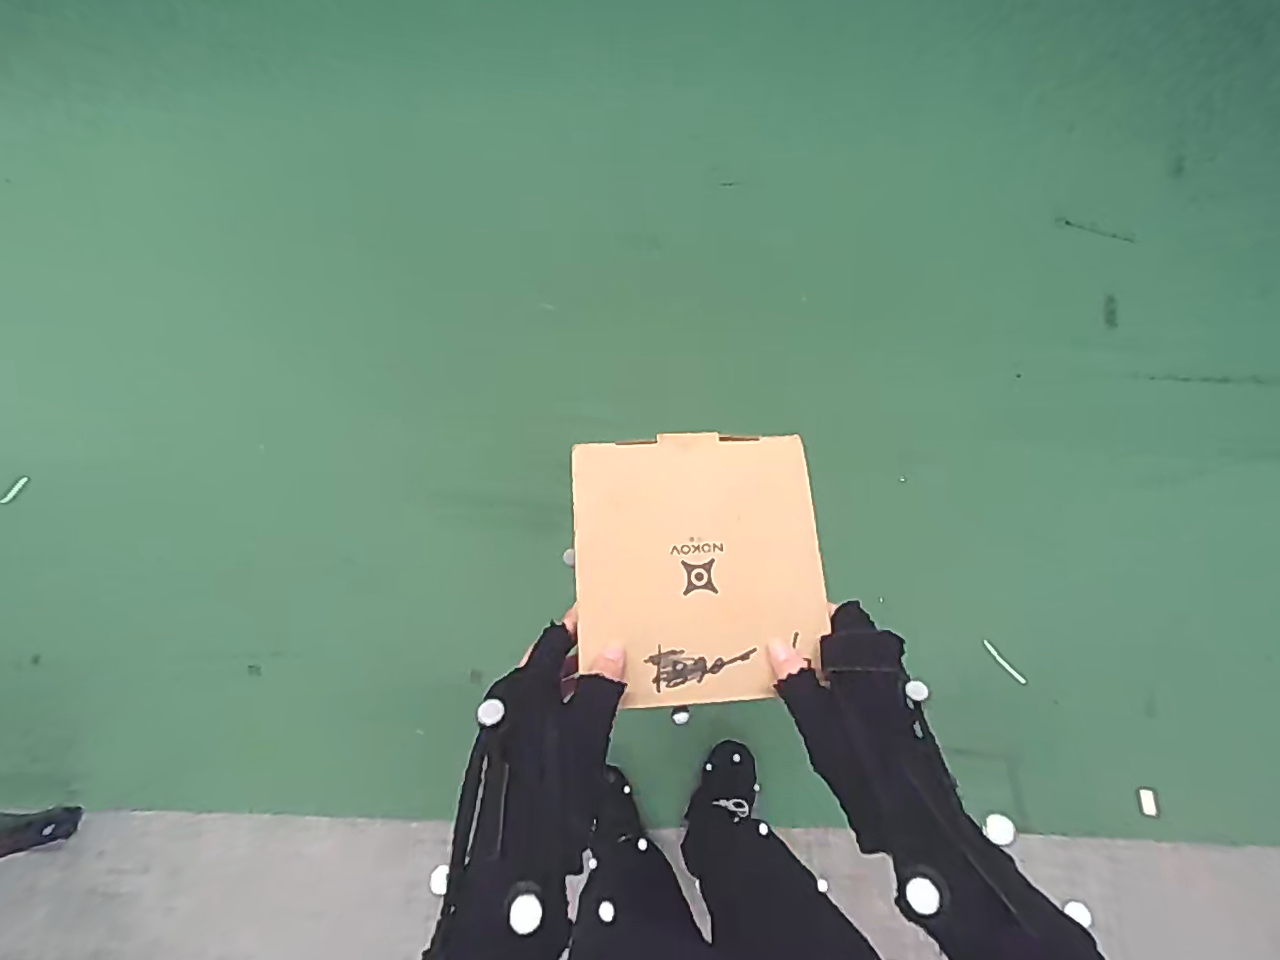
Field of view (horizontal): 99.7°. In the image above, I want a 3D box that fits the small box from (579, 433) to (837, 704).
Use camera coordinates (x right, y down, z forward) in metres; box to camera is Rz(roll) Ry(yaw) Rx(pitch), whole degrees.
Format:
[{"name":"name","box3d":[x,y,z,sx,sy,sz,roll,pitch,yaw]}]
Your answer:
[{"name":"small box","box3d":[0.036,0.073,0.438,0.168,0.176,0.179,-3,76,-4]}]
